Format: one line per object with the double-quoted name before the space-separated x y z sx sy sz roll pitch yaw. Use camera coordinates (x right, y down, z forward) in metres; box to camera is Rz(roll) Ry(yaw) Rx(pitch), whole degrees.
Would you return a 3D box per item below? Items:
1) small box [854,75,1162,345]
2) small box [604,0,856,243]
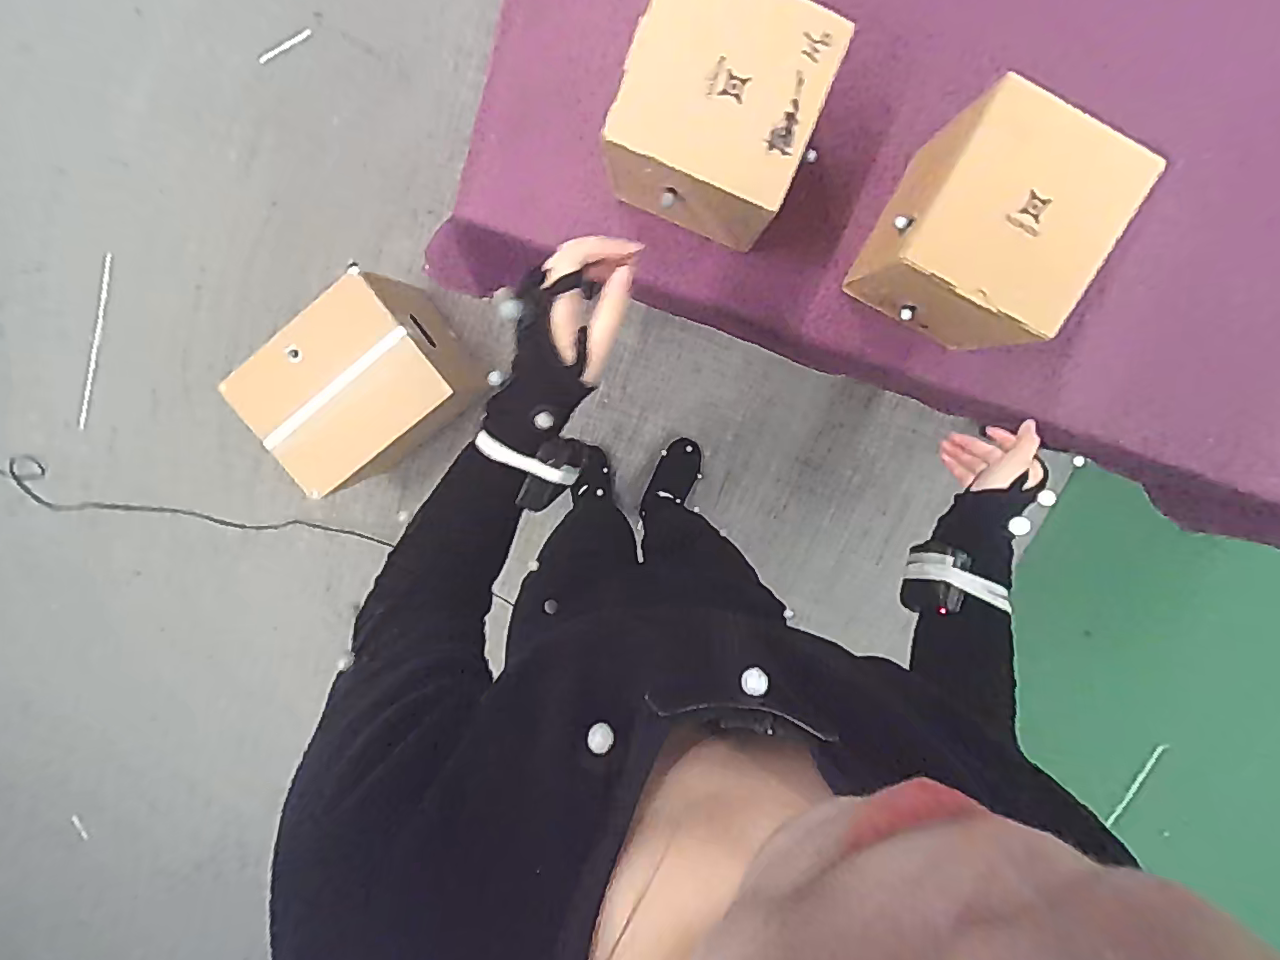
"small box" 0.357 -0.259 0.569 0.168 0.176 0.179 27 102 -3
"small box" 0.080 -0.366 0.555 0.179 0.176 0.168 22 102 -2
